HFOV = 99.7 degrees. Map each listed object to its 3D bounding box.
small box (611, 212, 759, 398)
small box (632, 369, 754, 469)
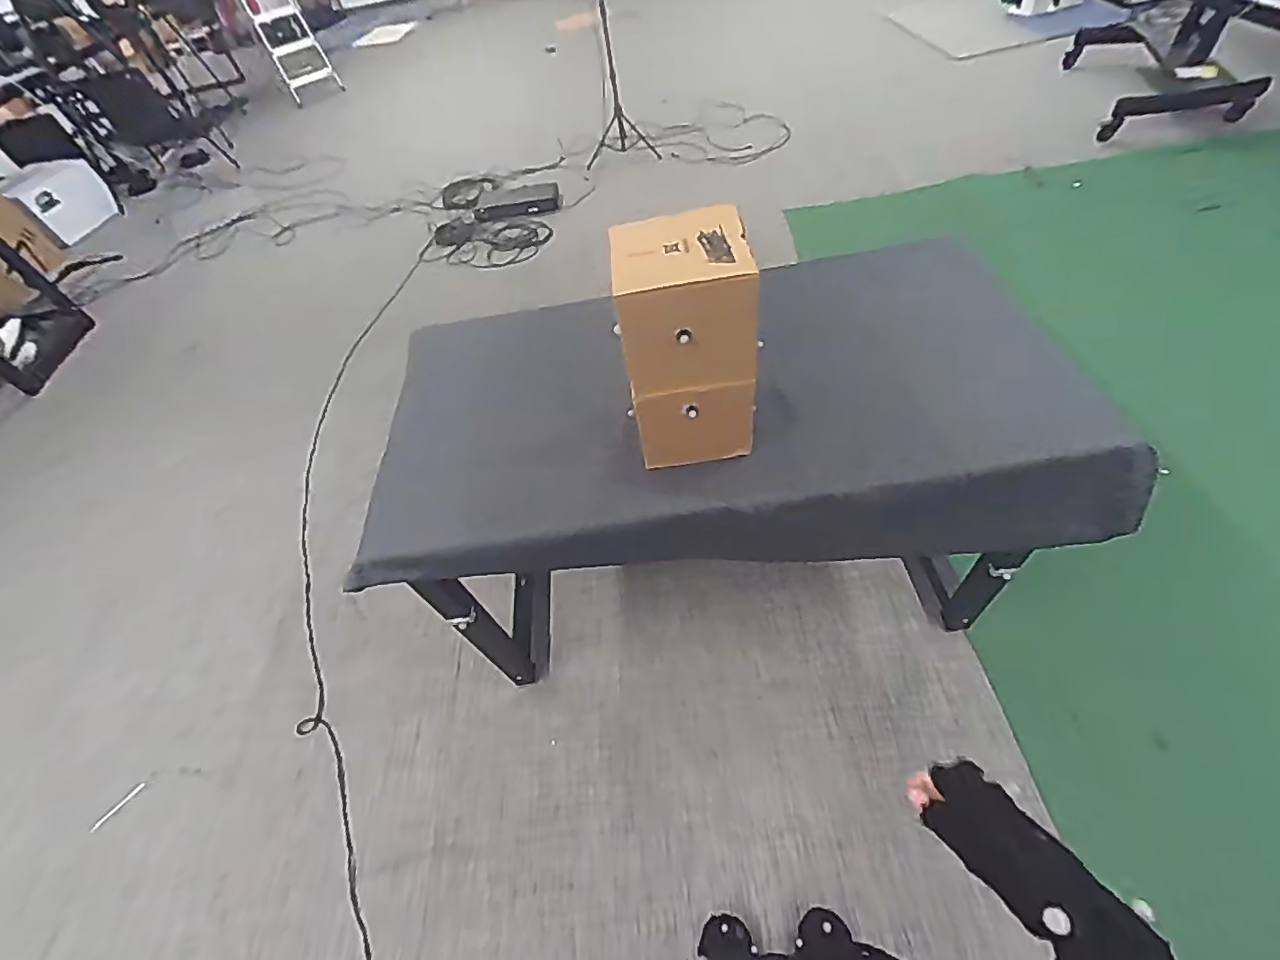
[{"bbox_3d":[0.061,-0.235,0.746,0.179,0.176,0.168,-8,53,6],"label":"small box"},{"bbox_3d":[0.082,-0.134,0.874,0.179,0.176,0.168,-8,53,3],"label":"small box"}]
